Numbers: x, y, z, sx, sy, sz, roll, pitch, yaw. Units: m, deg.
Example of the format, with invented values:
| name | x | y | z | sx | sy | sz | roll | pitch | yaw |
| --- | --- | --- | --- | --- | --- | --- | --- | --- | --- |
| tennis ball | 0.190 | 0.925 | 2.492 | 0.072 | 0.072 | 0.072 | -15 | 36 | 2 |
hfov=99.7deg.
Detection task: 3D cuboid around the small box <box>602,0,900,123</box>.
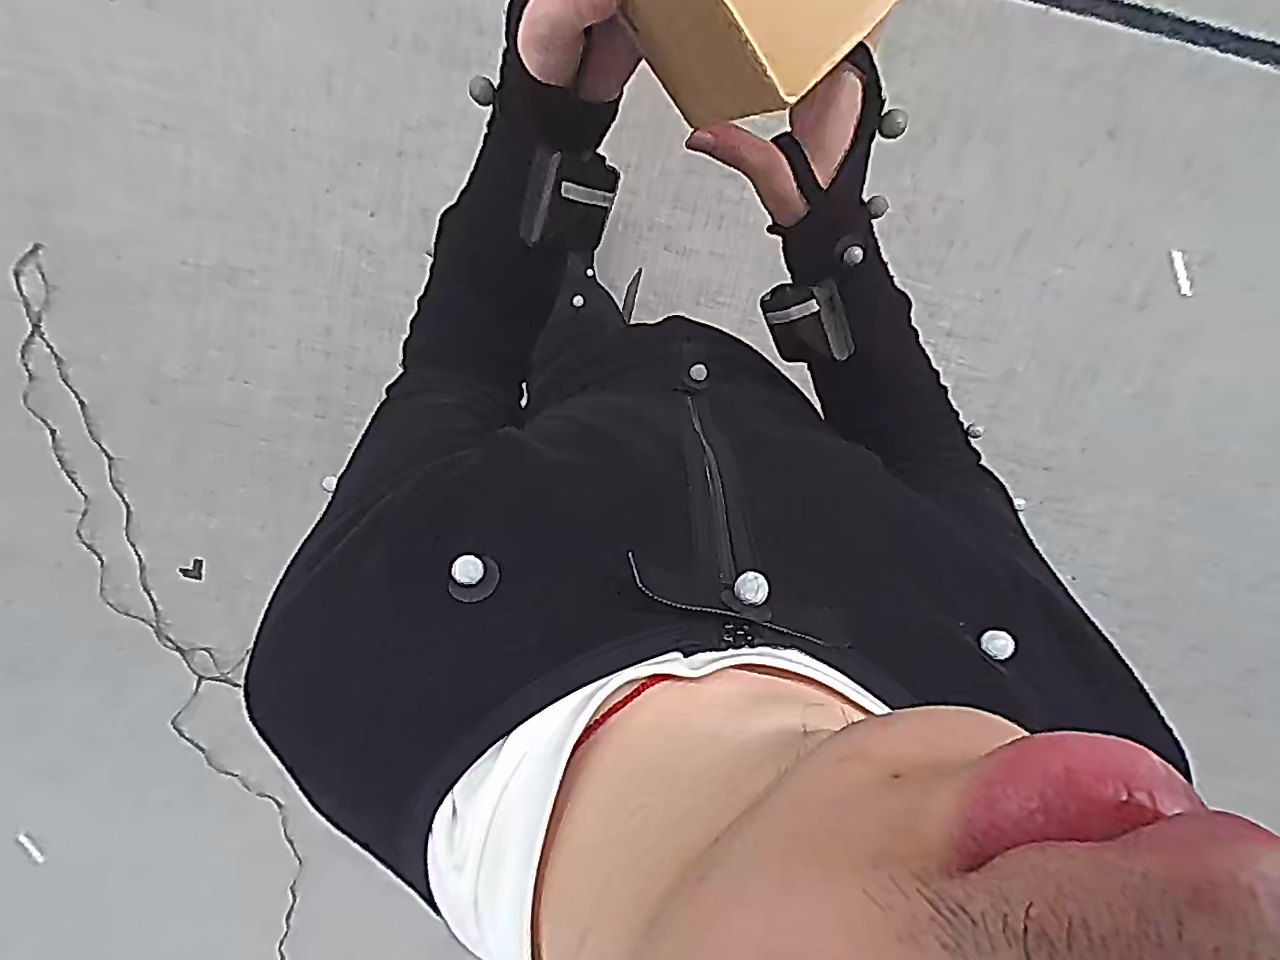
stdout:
| name | x | y | z | sx | sy | sz | roll | pitch | yaw |
| --- | --- | --- | --- | --- | --- | --- | --- | --- | --- |
| small box | 0.053 | -0.272 | 0.201 | 0.179 | 0.176 | 0.168 | -39 | 117 | 16 |
